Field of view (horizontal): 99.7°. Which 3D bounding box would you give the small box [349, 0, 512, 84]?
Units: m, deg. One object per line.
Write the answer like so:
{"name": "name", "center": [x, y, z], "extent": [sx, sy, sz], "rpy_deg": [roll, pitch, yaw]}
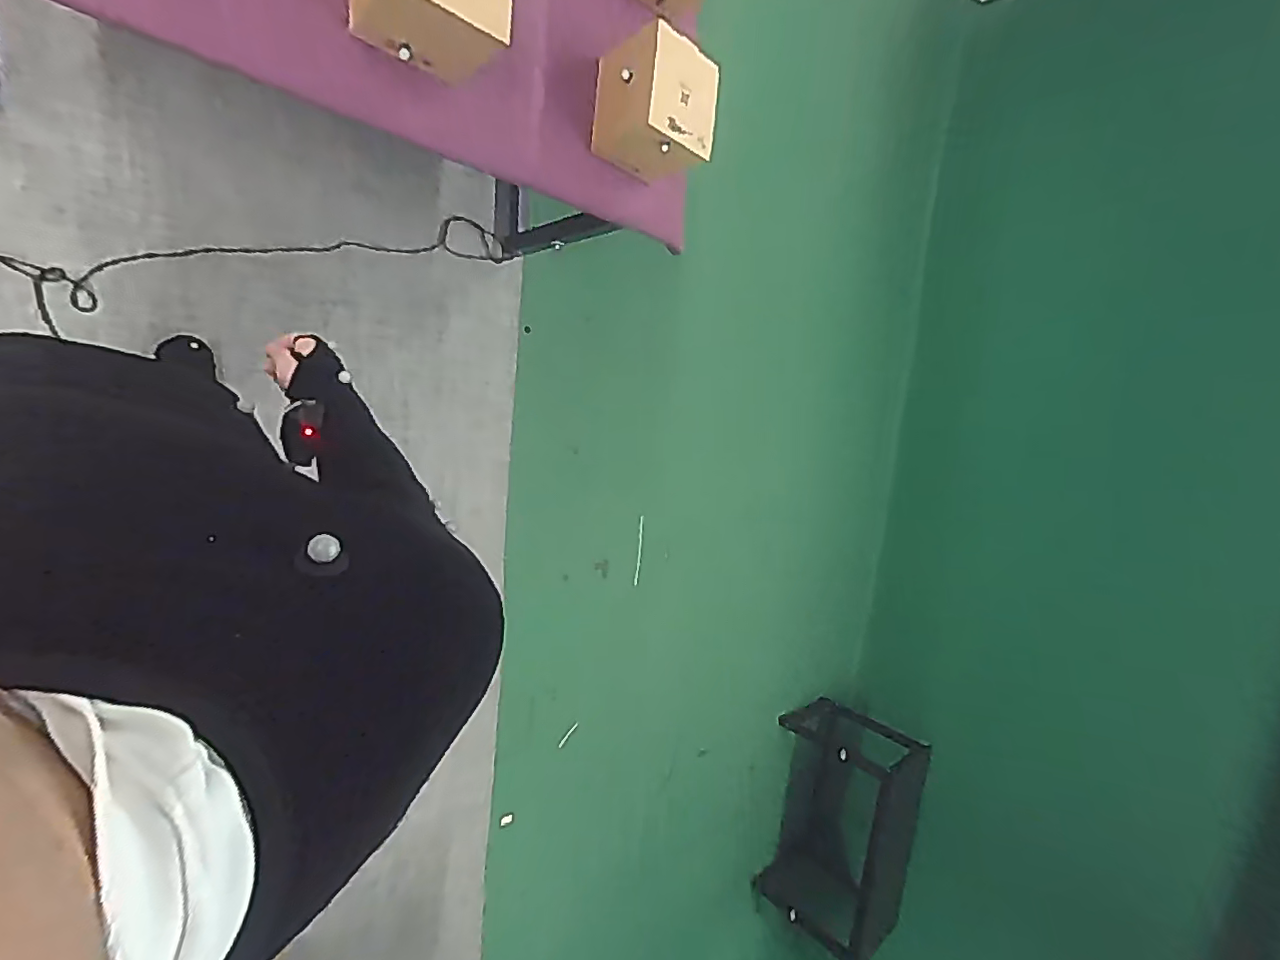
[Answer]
{"name": "small box", "center": [-0.288, -0.701, 0.744], "extent": [0.168, 0.176, 0.179], "rpy_deg": [-1, 100, -43]}

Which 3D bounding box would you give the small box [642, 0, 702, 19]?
{"name": "small box", "center": [0.065, -1.022, 1.000], "extent": [0.168, 0.176, 0.179], "rpy_deg": [-3, 102, -40]}

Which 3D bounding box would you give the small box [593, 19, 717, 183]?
{"name": "small box", "center": [0.025, -0.709, 1.038], "extent": [0.168, 0.176, 0.179], "rpy_deg": [1, 96, -42]}
